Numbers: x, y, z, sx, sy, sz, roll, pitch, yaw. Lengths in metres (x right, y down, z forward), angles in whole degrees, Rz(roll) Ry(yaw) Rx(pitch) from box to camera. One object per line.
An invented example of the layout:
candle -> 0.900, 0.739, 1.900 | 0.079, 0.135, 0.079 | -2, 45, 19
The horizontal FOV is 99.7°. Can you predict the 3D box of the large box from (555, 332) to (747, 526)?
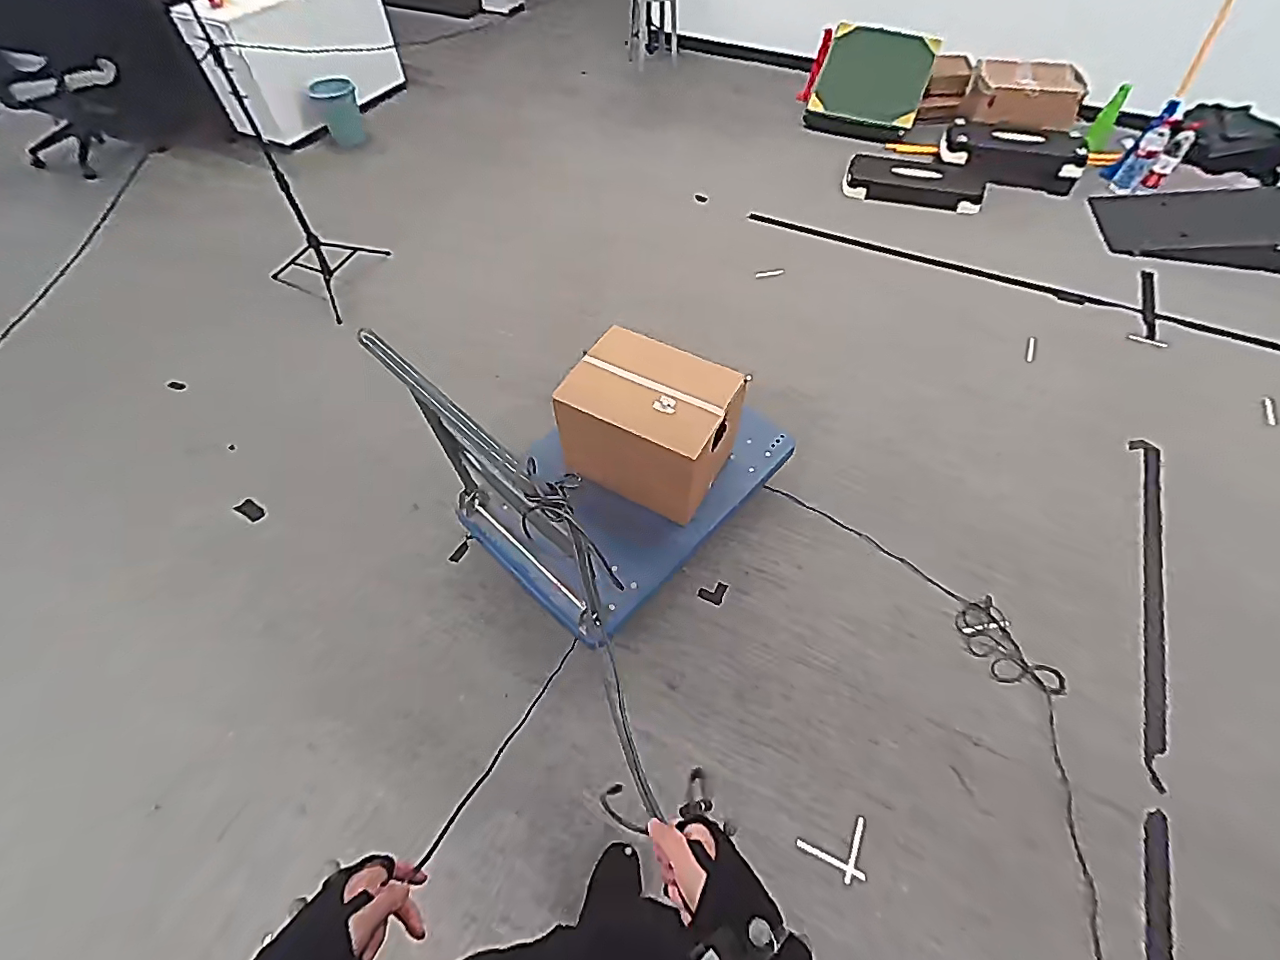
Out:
large box -> 0.027, -0.139, 1.484 | 0.408, 0.320, 0.320 | 25, 59, 16
